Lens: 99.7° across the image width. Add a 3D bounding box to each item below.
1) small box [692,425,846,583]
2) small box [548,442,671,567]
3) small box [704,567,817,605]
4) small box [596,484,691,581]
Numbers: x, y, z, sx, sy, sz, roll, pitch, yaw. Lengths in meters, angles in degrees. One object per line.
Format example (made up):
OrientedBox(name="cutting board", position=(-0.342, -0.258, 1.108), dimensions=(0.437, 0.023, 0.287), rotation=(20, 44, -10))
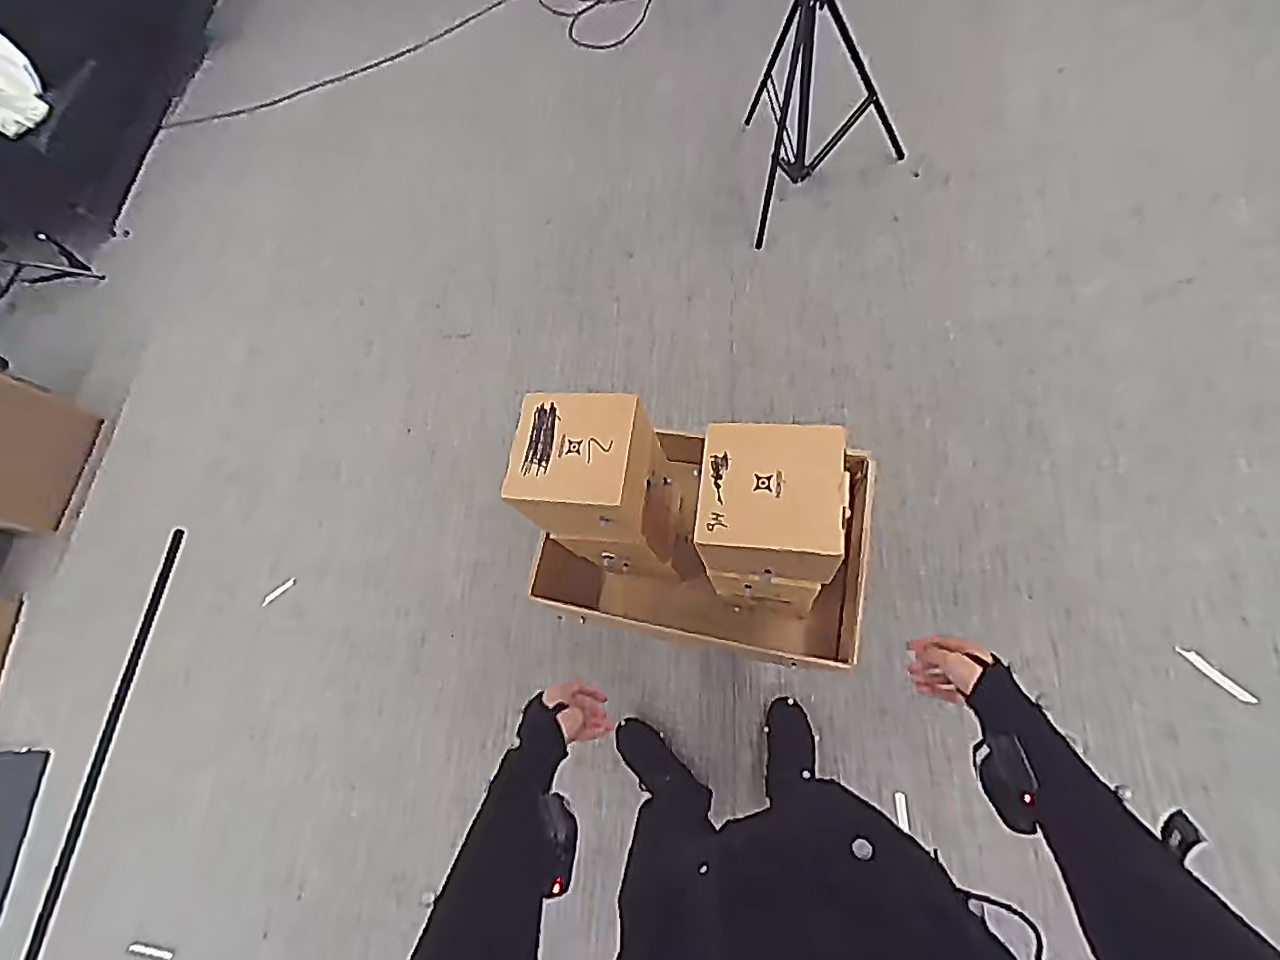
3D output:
OrientedBox(name="small box", position=(0.174, 0.039, 0.736), dimensions=(0.179, 0.176, 0.168), rotation=(4, 70, 14))
OrientedBox(name="small box", position=(-0.043, 0.046, 0.961), dimensions=(0.168, 0.176, 0.179), rotation=(2, 70, 15))
OrientedBox(name="small box", position=(0.206, 0.099, 0.885), dimensions=(0.168, 0.176, 0.179), rotation=(6, 70, 15))
OrientedBox(name="small box", position=(0.000, 0.105, 1.108), dimensions=(0.179, 0.176, 0.168), rotation=(5, 71, 14))
